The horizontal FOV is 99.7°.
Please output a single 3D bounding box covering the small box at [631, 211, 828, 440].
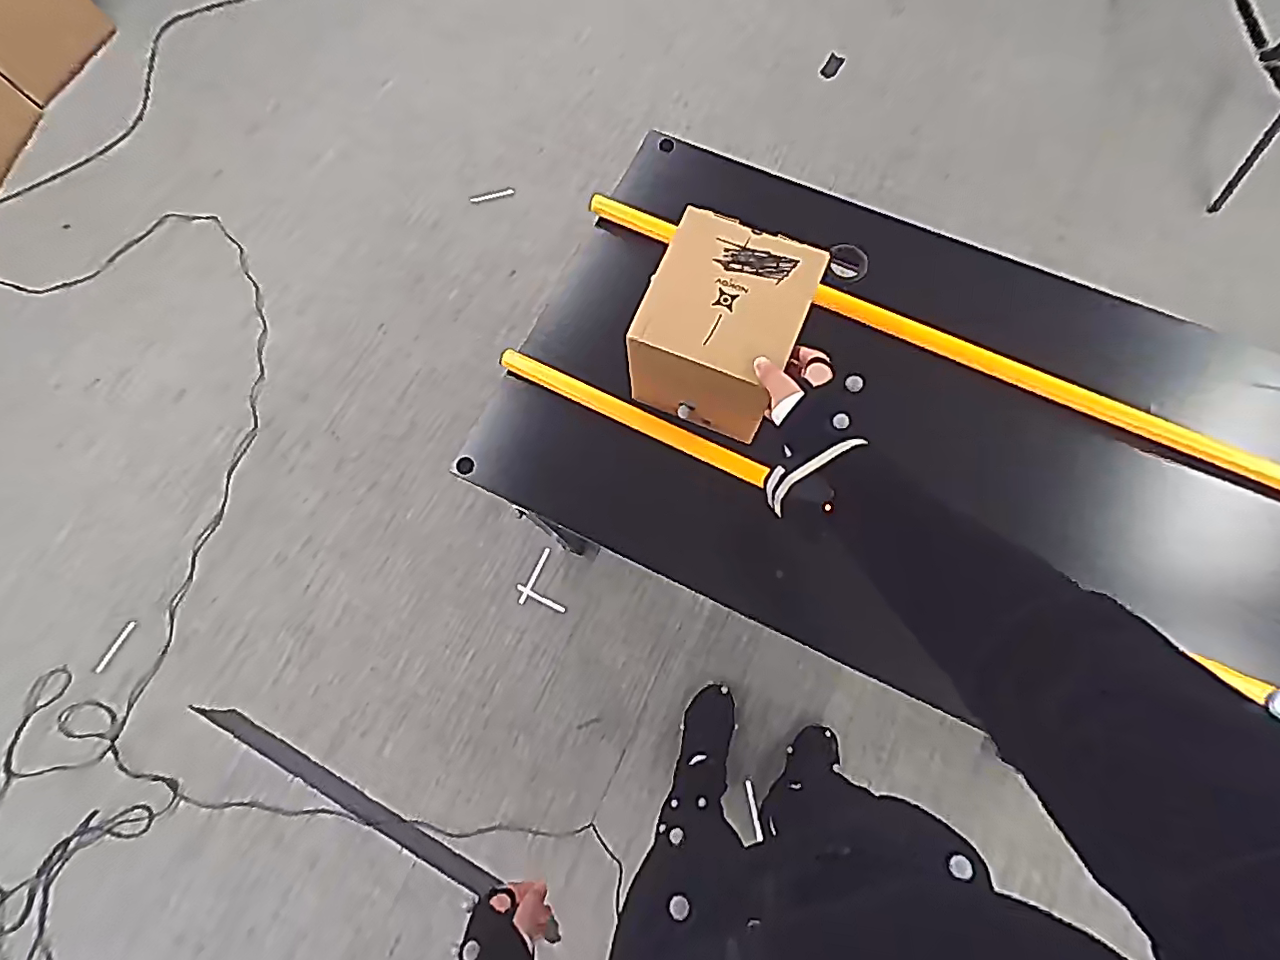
[{"bbox_3d":[0.098,-0.174,0.652,0.168,0.176,0.179,22,77,8],"label":"small box"}]
